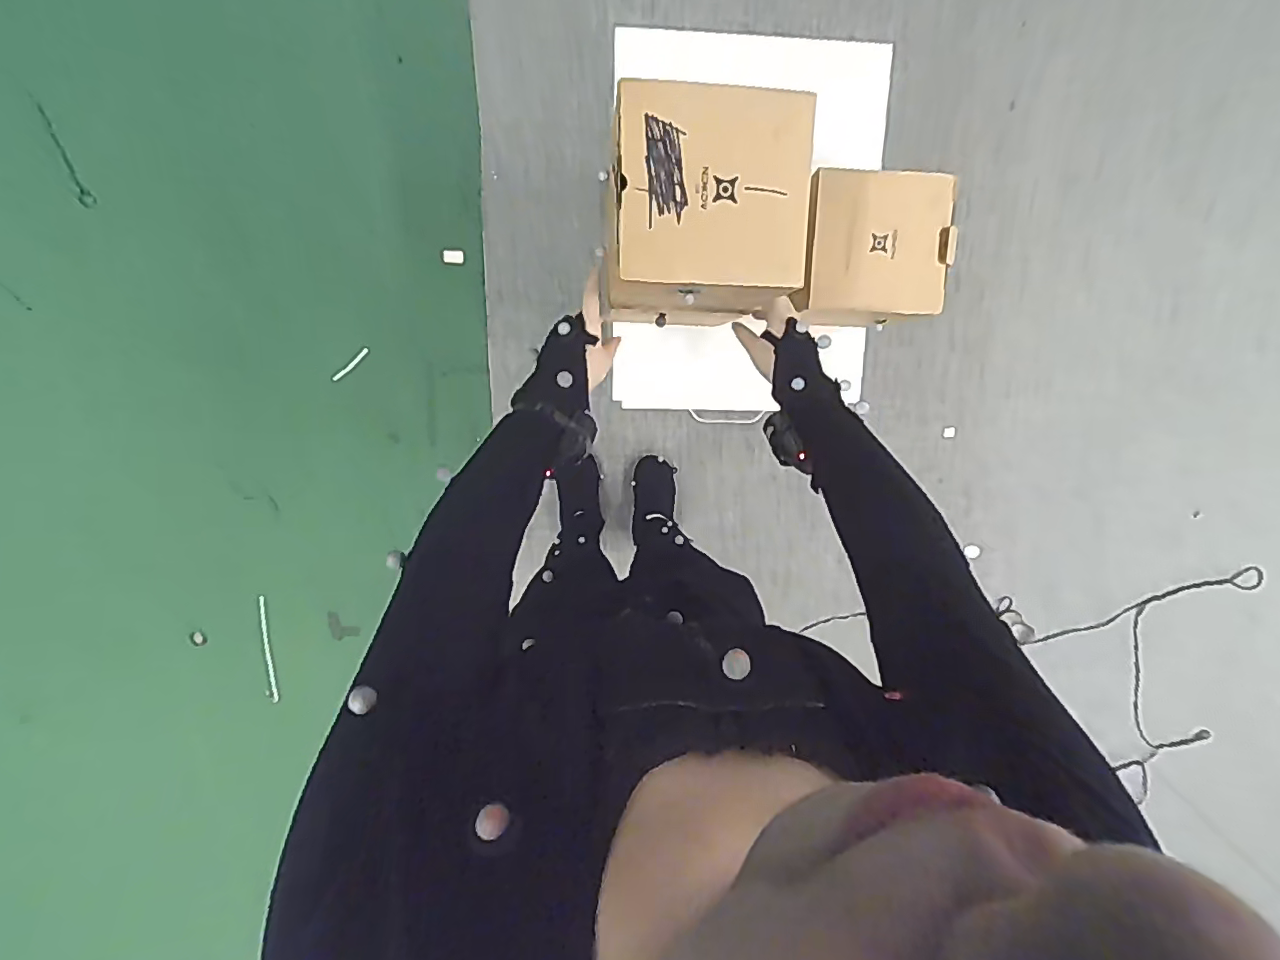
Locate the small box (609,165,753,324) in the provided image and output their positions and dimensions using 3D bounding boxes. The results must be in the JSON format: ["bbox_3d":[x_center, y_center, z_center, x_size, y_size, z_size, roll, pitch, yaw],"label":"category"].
[{"bbox_3d":[0.048,-0.300,0.717,0.179,0.176,0.168,1,102,-5],"label":"small box"}]

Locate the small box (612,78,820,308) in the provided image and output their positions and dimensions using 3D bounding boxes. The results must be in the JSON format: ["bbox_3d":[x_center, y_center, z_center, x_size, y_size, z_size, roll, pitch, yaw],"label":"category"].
[{"bbox_3d":[0.062,-0.272,0.555,0.179,0.176,0.168,0,101,-6],"label":"small box"}]

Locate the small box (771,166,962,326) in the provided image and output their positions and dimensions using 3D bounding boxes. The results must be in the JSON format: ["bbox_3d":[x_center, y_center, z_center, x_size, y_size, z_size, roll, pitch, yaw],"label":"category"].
[{"bbox_3d":[0.294,-0.304,0.737,0.179,0.176,0.168,1,100,-3],"label":"small box"}]
